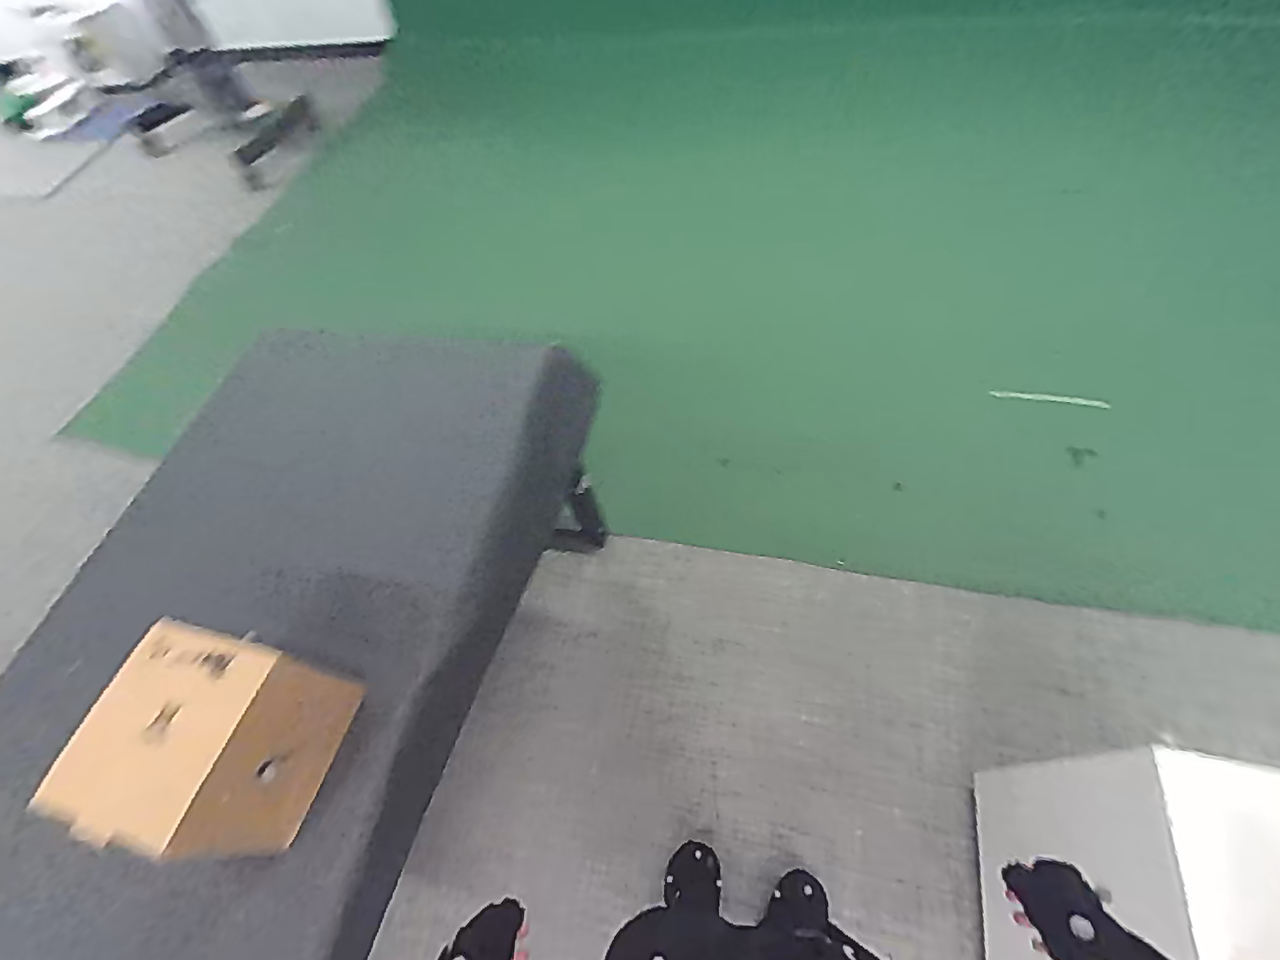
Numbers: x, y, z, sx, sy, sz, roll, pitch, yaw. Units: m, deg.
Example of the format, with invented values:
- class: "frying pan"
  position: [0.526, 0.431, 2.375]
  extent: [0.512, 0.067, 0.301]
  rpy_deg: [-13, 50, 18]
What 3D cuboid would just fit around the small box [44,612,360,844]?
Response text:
- class: "small box"
  position: [-0.452, 0.269, 0.595]
  extent: [0.168, 0.176, 0.179]
  rpy_deg: [10, 62, 14]
